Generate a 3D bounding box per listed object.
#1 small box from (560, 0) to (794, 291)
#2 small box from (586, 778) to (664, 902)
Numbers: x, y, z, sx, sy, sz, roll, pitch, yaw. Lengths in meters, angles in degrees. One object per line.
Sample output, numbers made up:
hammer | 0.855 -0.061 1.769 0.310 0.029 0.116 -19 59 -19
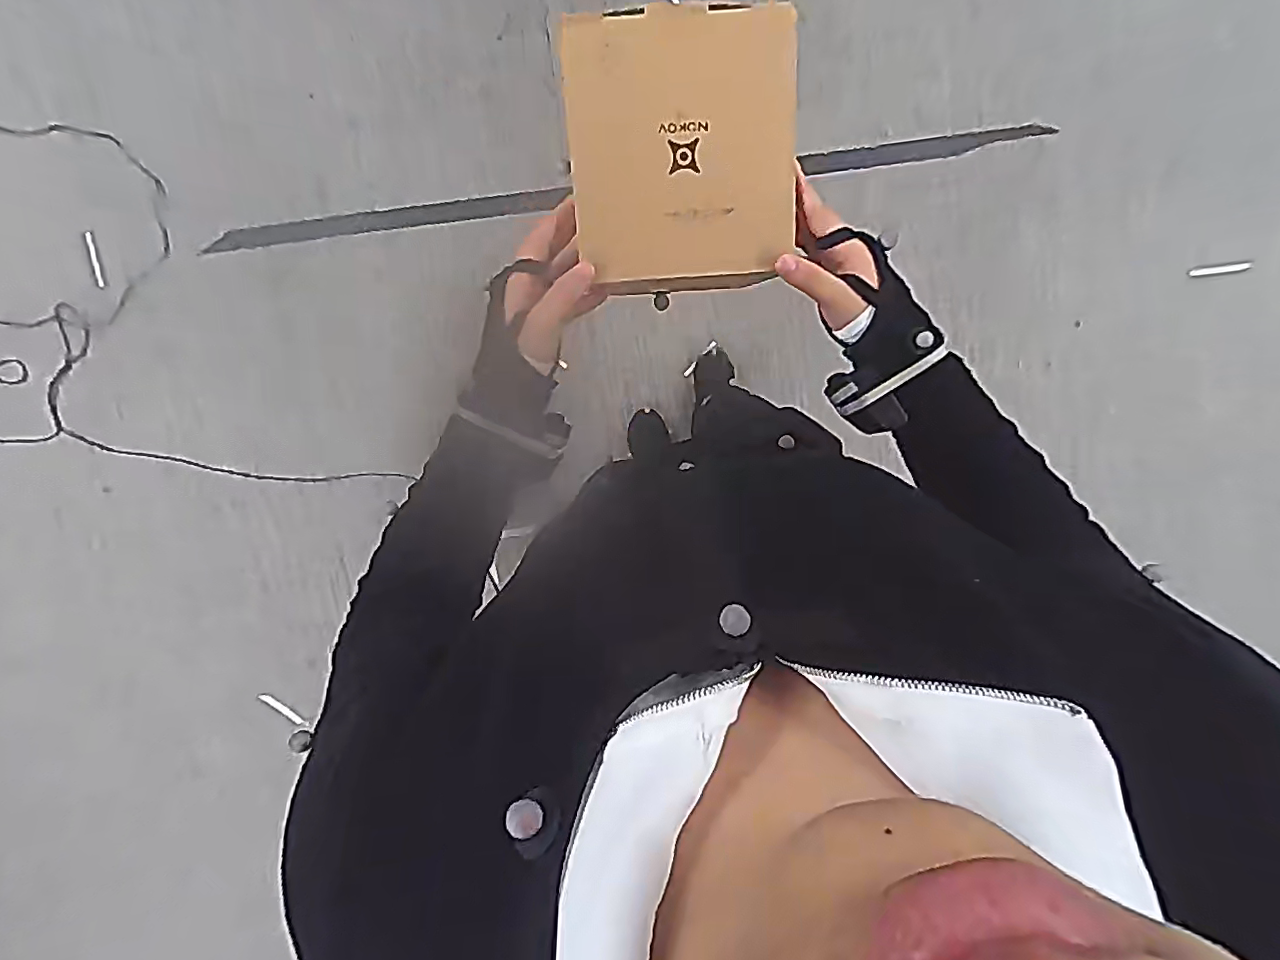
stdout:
small box | 0.026 -0.266 0.467 0.168 0.176 0.179 -4 106 -1
small box | -0.030 0.838 1.269 0.168 0.176 0.179 -5 99 1
